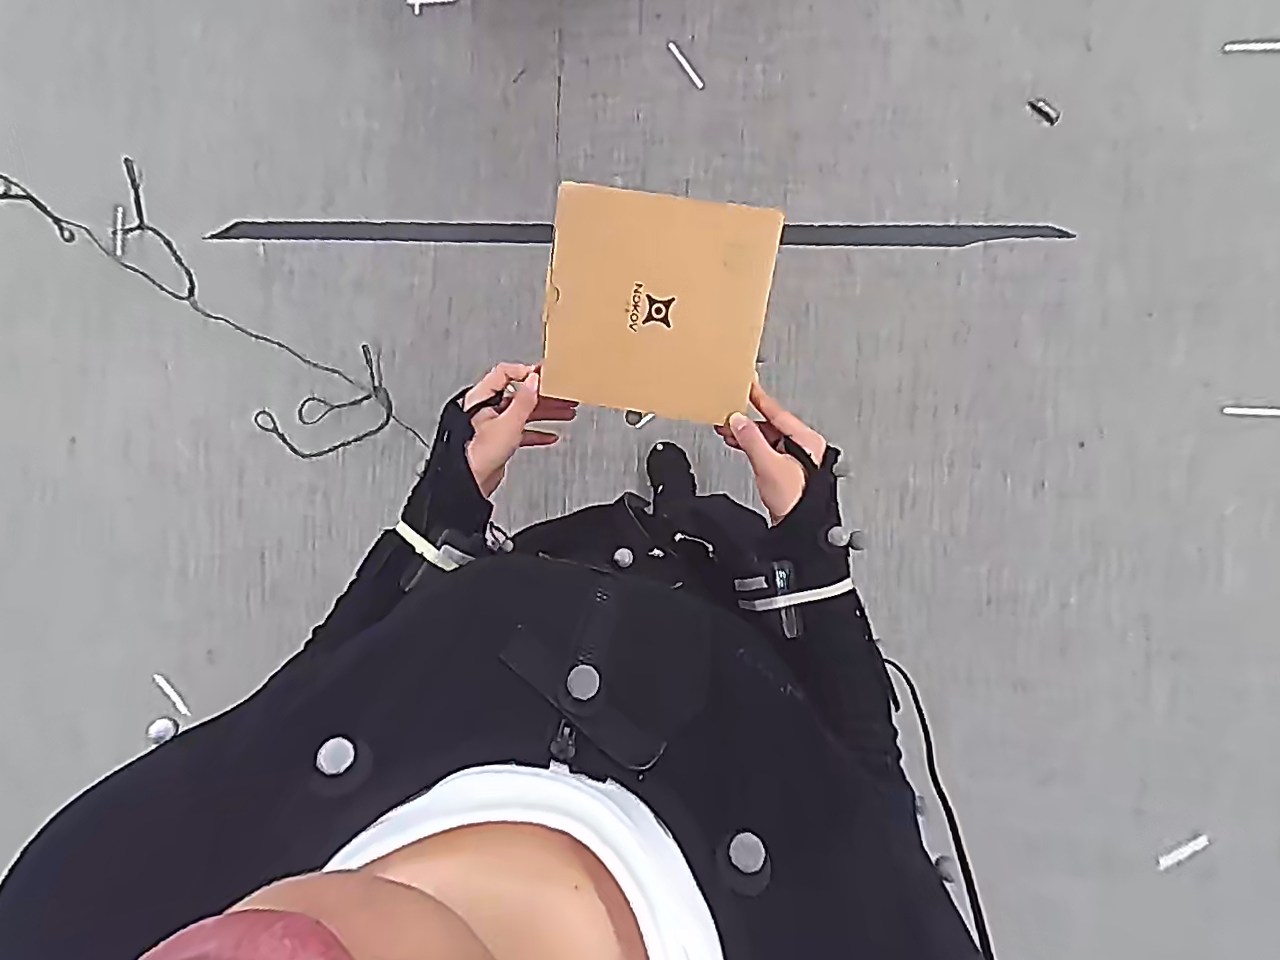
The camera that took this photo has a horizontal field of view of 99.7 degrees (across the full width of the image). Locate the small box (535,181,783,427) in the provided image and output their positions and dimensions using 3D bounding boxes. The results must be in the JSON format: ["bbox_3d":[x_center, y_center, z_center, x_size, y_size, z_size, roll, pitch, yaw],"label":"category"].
[{"bbox_3d":[0.020,-0.154,0.498,0.179,0.176,0.168,10,105,7],"label":"small box"}]
